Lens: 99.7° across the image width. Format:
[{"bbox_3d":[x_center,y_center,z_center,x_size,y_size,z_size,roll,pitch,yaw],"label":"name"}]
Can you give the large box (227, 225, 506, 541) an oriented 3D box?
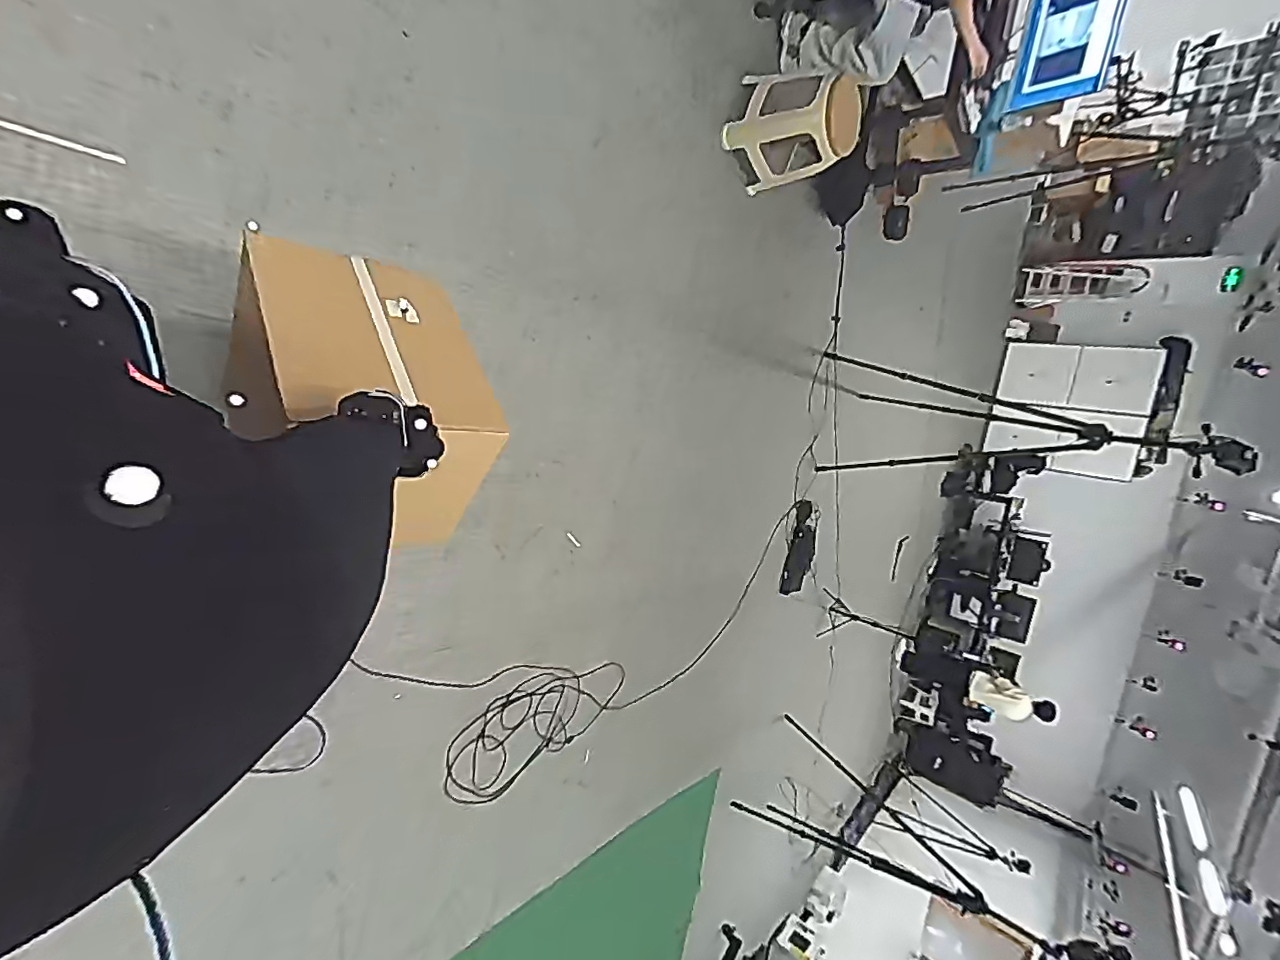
[{"bbox_3d":[-0.494,-0.153,0.943,0.320,0.408,0.320,-1,143,-45],"label":"large box"}]
